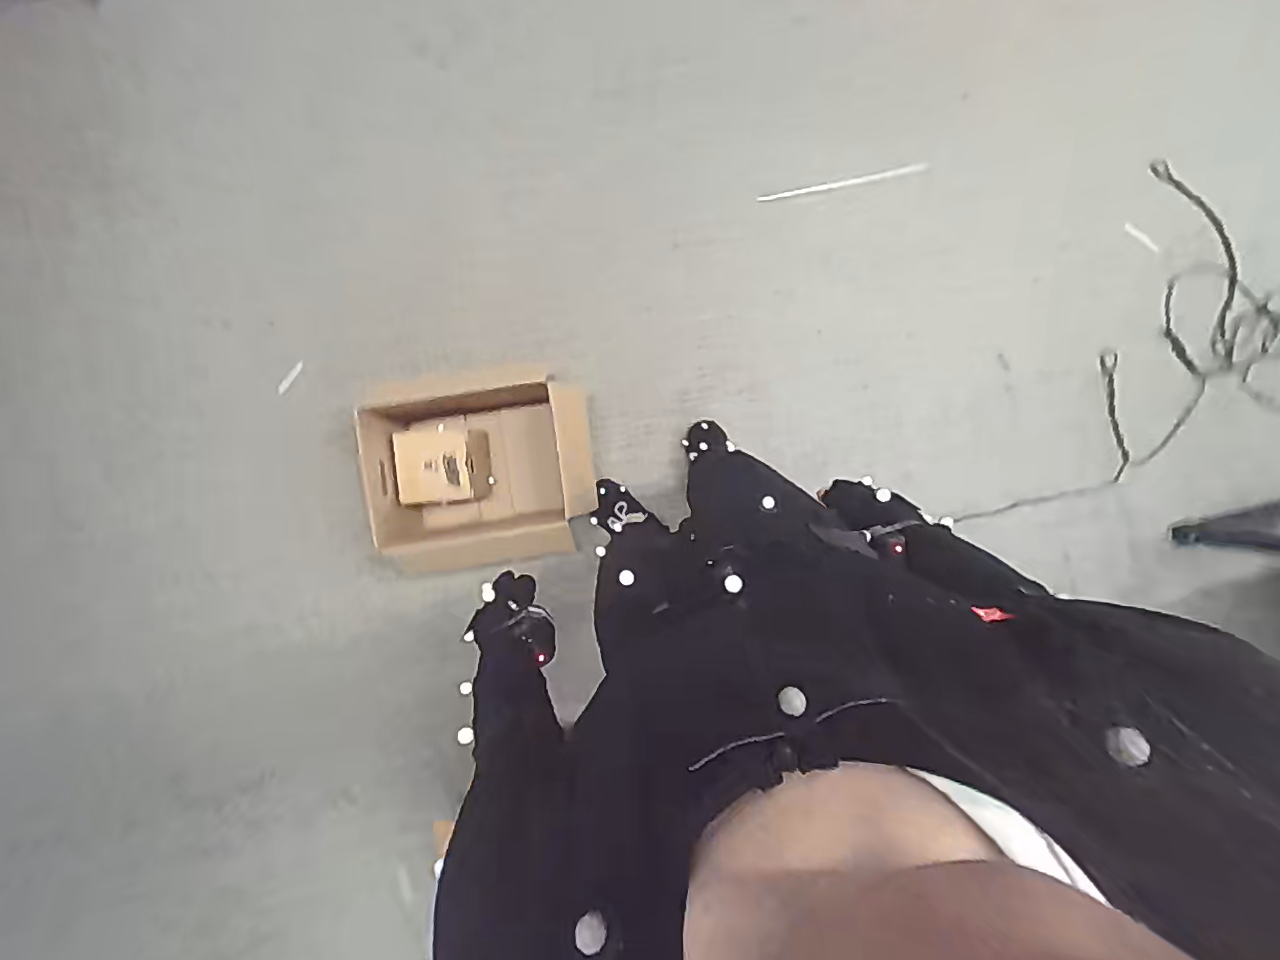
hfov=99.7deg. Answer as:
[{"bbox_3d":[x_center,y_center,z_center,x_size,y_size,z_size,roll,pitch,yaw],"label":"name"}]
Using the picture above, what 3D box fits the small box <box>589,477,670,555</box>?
[{"bbox_3d":[-0.025,0.092,1.428,0.179,0.176,0.168,-1,103,15],"label":"small box"}]
